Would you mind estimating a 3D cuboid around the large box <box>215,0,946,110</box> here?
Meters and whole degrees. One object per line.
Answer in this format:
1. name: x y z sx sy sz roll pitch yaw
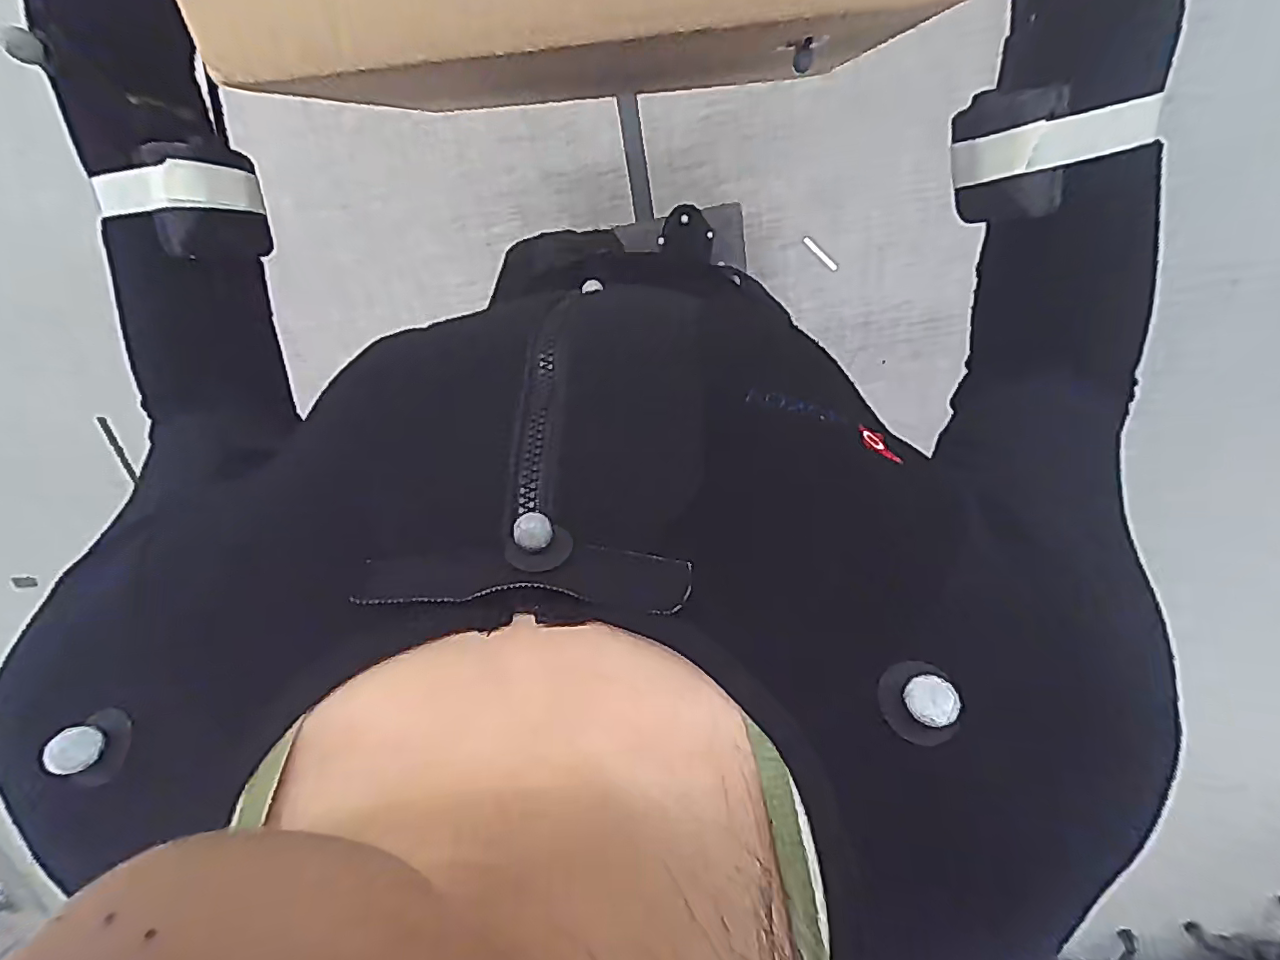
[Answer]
1. large box: -0.034 -0.443 0.342 0.408 0.320 0.320 -2 121 6
